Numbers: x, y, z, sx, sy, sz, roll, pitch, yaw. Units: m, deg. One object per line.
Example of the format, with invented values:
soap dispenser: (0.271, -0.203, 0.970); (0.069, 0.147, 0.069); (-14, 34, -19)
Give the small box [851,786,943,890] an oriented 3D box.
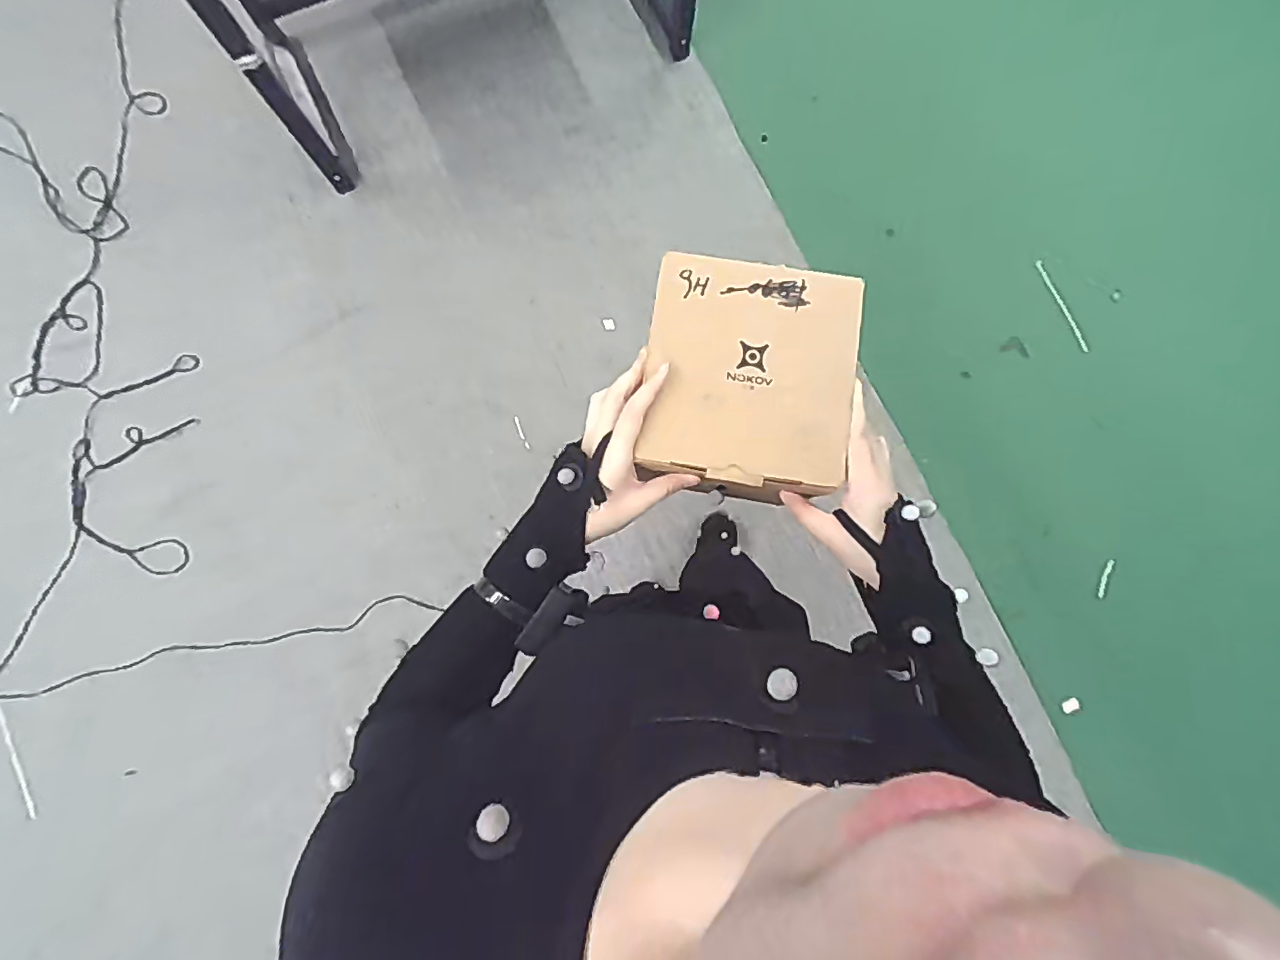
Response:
small box: (0.661, 0.906, 1.335); (0.168, 0.176, 0.179); (-29, 84, -5)
